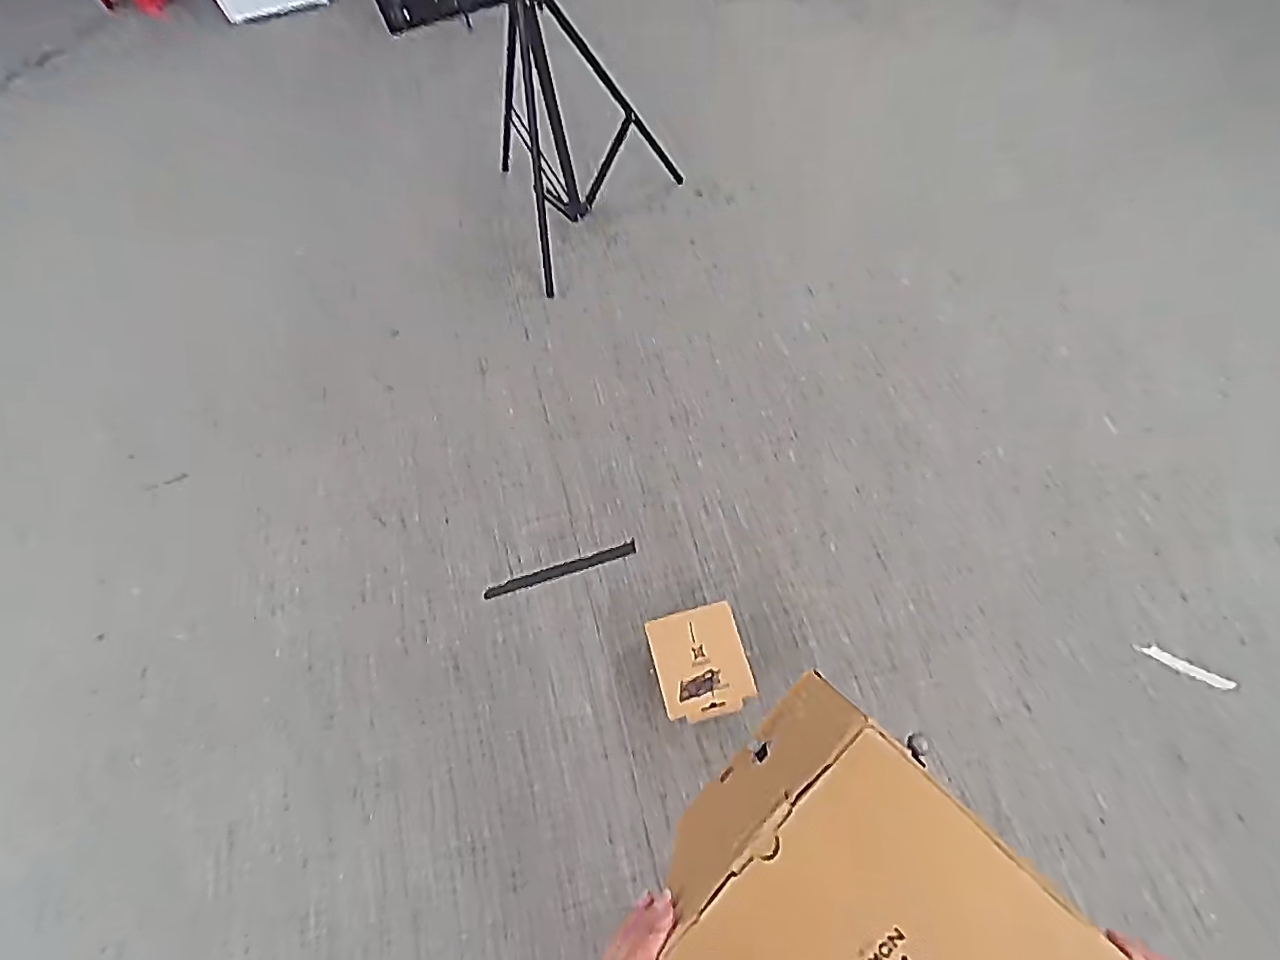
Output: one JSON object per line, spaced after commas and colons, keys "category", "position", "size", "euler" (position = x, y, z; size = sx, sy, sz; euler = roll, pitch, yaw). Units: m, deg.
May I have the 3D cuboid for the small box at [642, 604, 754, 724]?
{"category": "small box", "position": [0.110, 0.359, 1.044], "size": [0.168, 0.176, 0.179], "euler": [-16, 64, -1]}

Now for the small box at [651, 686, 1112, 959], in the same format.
{"category": "small box", "position": [0.131, 0.254, 0.328], "size": [0.179, 0.176, 0.168], "euler": [41, 87, 14]}
